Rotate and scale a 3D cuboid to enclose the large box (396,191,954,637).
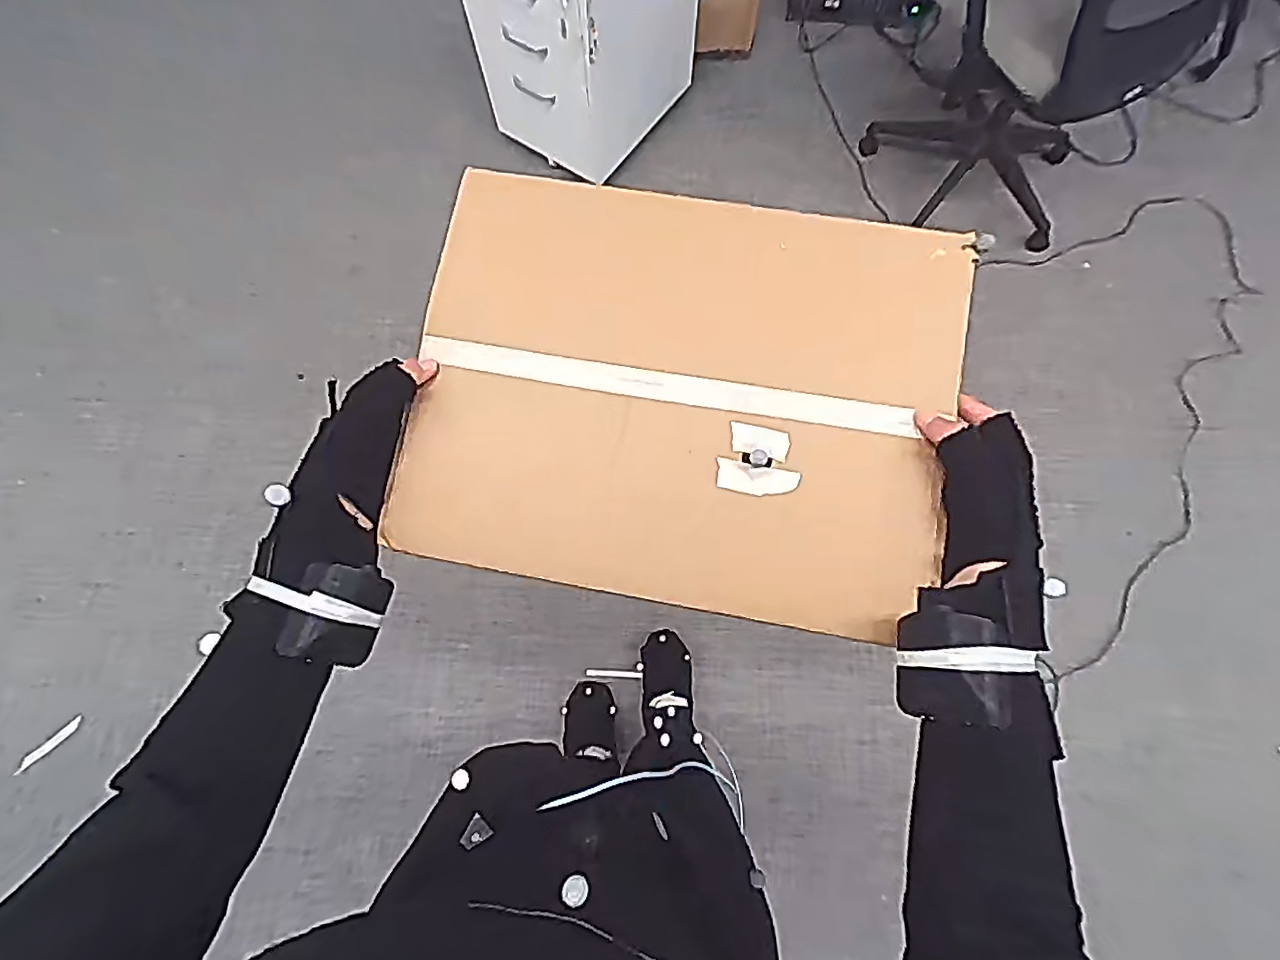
[{"bbox_3d":[0.034,-0.043,0.568,0.408,0.320,0.320,10,83,3],"label":"large box"}]
